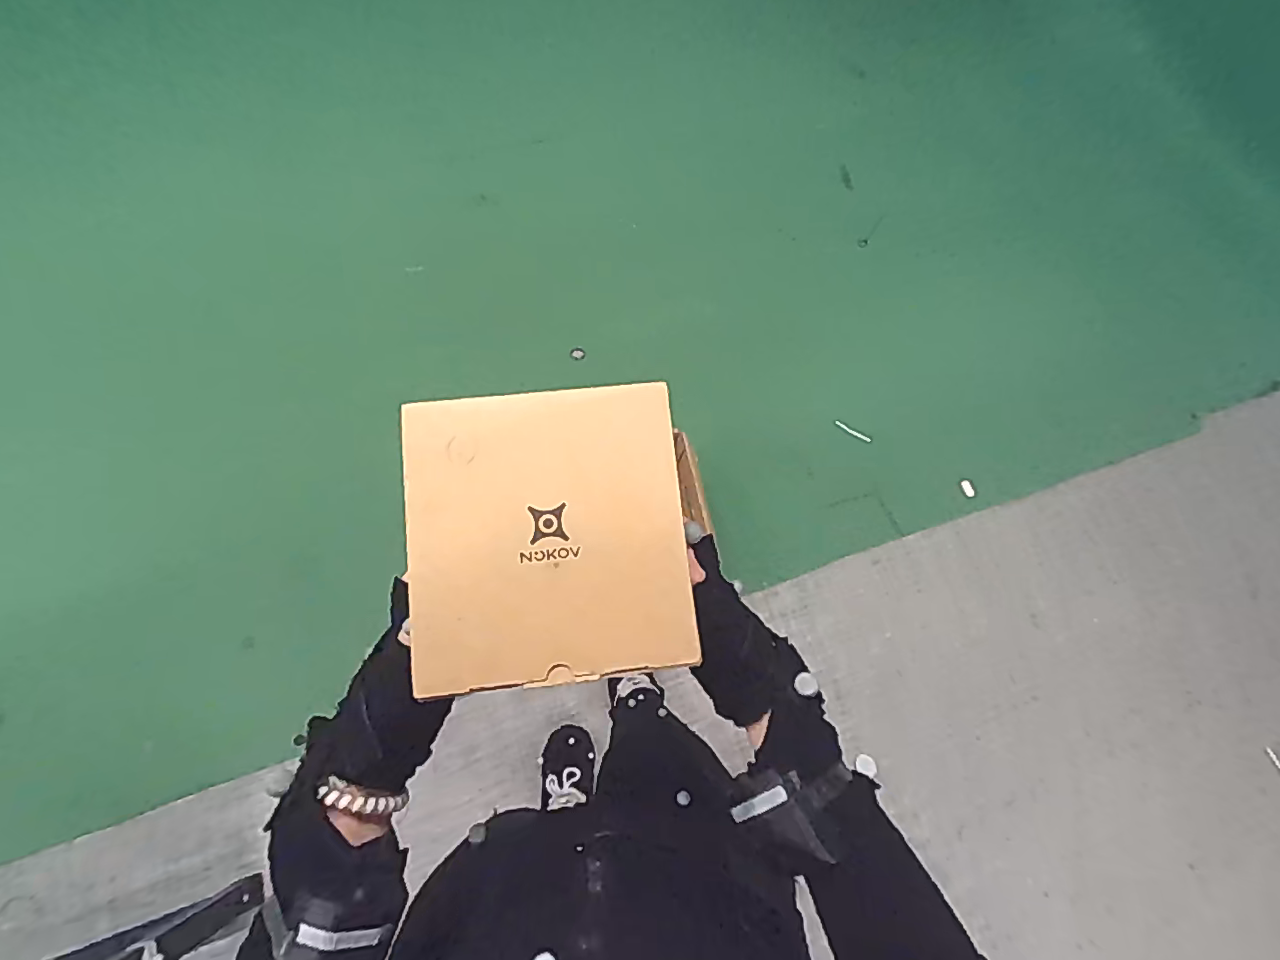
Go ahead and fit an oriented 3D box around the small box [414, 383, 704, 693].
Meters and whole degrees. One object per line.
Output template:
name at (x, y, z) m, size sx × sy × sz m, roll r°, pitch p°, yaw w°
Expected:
small box at (-0.058, 0.042, 0.403) m, size 0.168 × 0.176 × 0.179 m, roll -5°, pitch 82°, yaw -6°
